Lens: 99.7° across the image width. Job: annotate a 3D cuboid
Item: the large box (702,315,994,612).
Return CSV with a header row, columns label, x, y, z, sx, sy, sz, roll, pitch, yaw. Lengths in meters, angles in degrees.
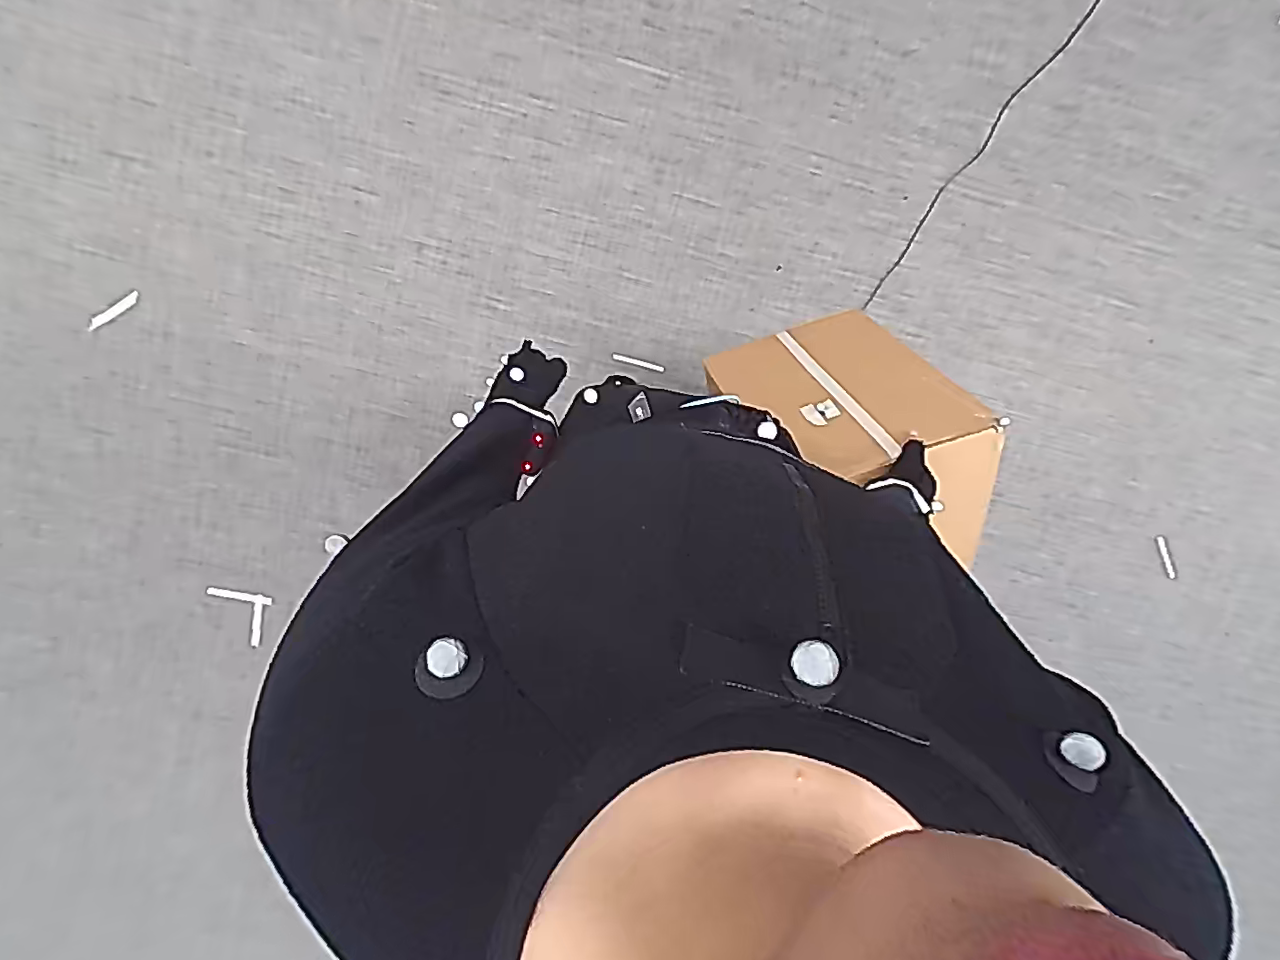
label,x,y,z,sx,sy,sz,roll,pitch,yaw
large box,0.334,-0.041,0.987,0.320,0.408,0.320,-18,132,1
